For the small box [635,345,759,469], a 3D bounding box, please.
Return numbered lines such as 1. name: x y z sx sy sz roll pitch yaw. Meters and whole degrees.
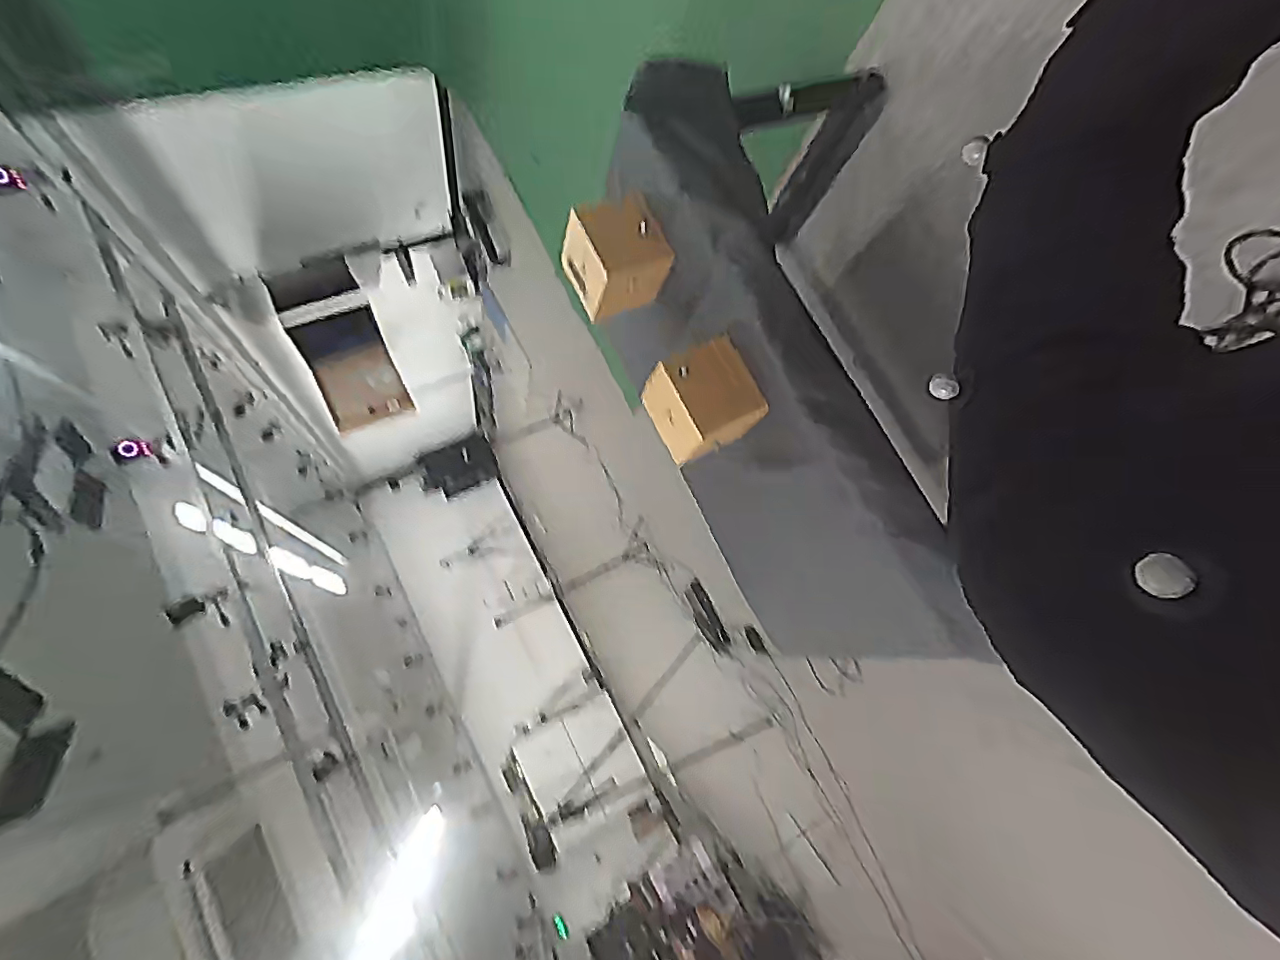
1. small box: 0.117 -0.153 1.126 0.179 0.176 0.168 62 159 10
